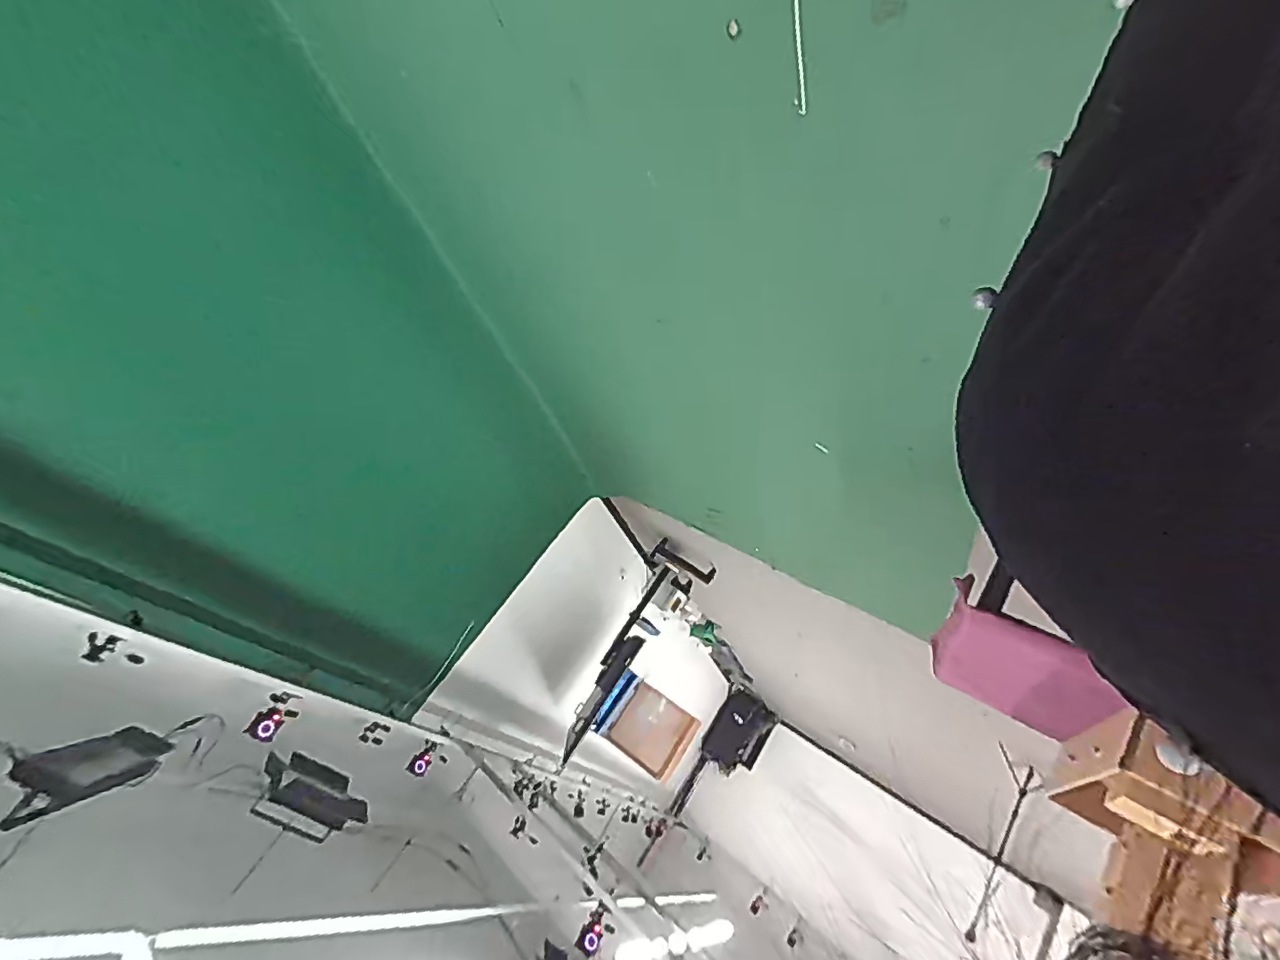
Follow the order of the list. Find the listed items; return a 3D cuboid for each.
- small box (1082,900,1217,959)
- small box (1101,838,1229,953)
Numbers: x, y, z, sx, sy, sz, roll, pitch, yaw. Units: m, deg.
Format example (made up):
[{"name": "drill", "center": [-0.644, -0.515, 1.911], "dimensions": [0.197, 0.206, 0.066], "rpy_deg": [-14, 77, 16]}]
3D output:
[{"name": "small box", "center": [1.223, 1.158, 1.305], "dimensions": [0.179, 0.176, 0.168], "rpy_deg": [25, 157, 33]}, {"name": "small box", "center": [1.314, 1.033, 1.360], "dimensions": [0.179, 0.176, 0.168], "rpy_deg": [22, 155, 35]}]
